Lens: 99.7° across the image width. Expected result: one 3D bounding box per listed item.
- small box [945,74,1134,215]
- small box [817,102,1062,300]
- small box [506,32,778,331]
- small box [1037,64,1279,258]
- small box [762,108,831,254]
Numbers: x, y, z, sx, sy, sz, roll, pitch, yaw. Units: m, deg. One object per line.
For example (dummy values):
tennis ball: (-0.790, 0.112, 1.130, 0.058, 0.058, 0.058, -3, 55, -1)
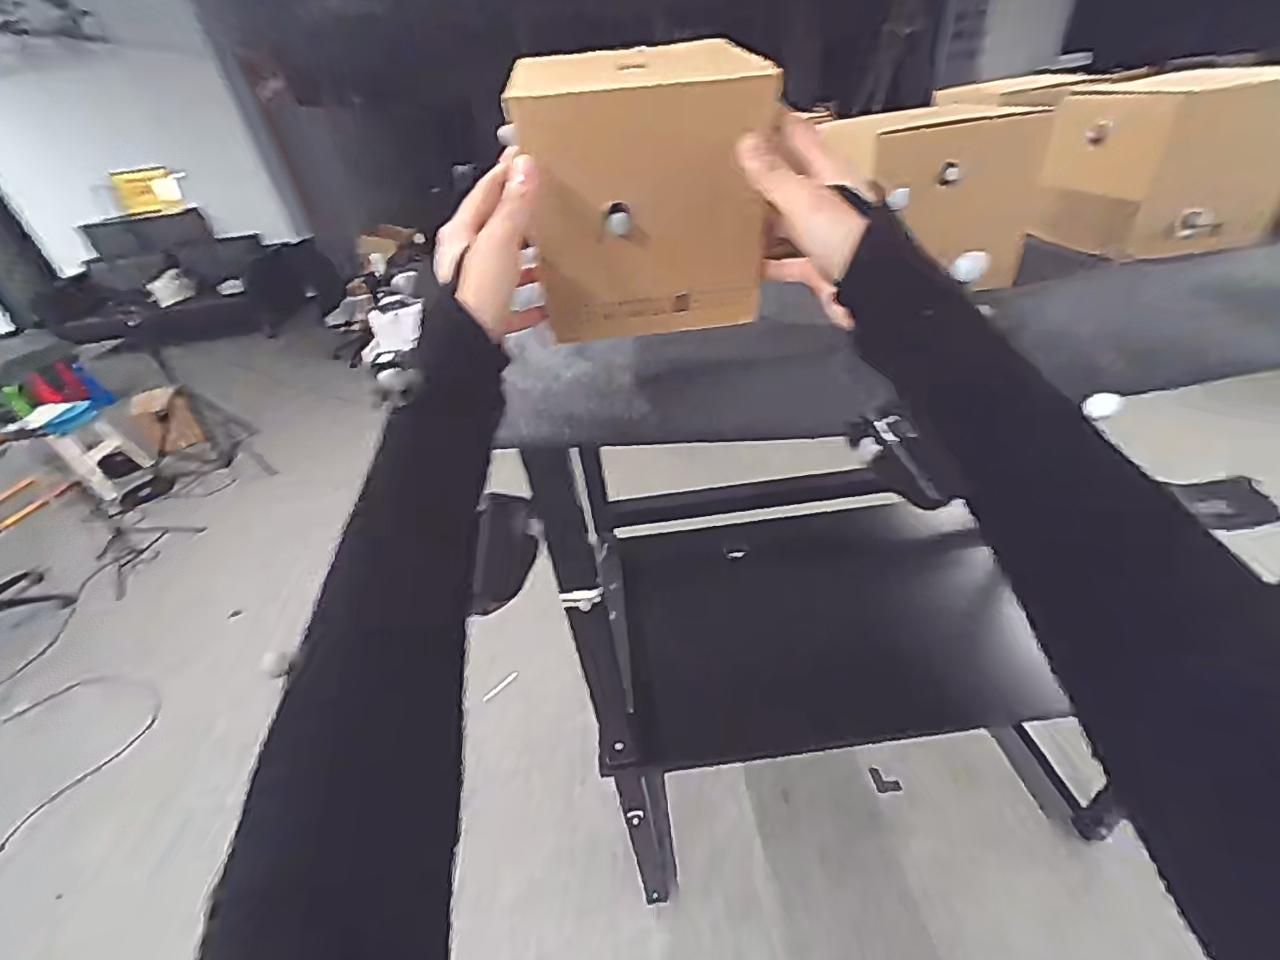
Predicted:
small box: (0.570, -0.505, 0.824, 0.179, 0.176, 0.168, -7, 35, -1)
small box: (0.308, -0.311, 0.605, 0.179, 0.176, 0.168, -7, 36, 1)
small box: (0.000, -0.231, 0.429, 0.168, 0.176, 0.179, -7, 44, -2)
small box: (0.615, -0.369, 0.631, 0.168, 0.176, 0.179, -8, 35, 1)
small box: (0.168, -0.443, 0.811, 0.168, 0.176, 0.179, -10, 36, -4)
